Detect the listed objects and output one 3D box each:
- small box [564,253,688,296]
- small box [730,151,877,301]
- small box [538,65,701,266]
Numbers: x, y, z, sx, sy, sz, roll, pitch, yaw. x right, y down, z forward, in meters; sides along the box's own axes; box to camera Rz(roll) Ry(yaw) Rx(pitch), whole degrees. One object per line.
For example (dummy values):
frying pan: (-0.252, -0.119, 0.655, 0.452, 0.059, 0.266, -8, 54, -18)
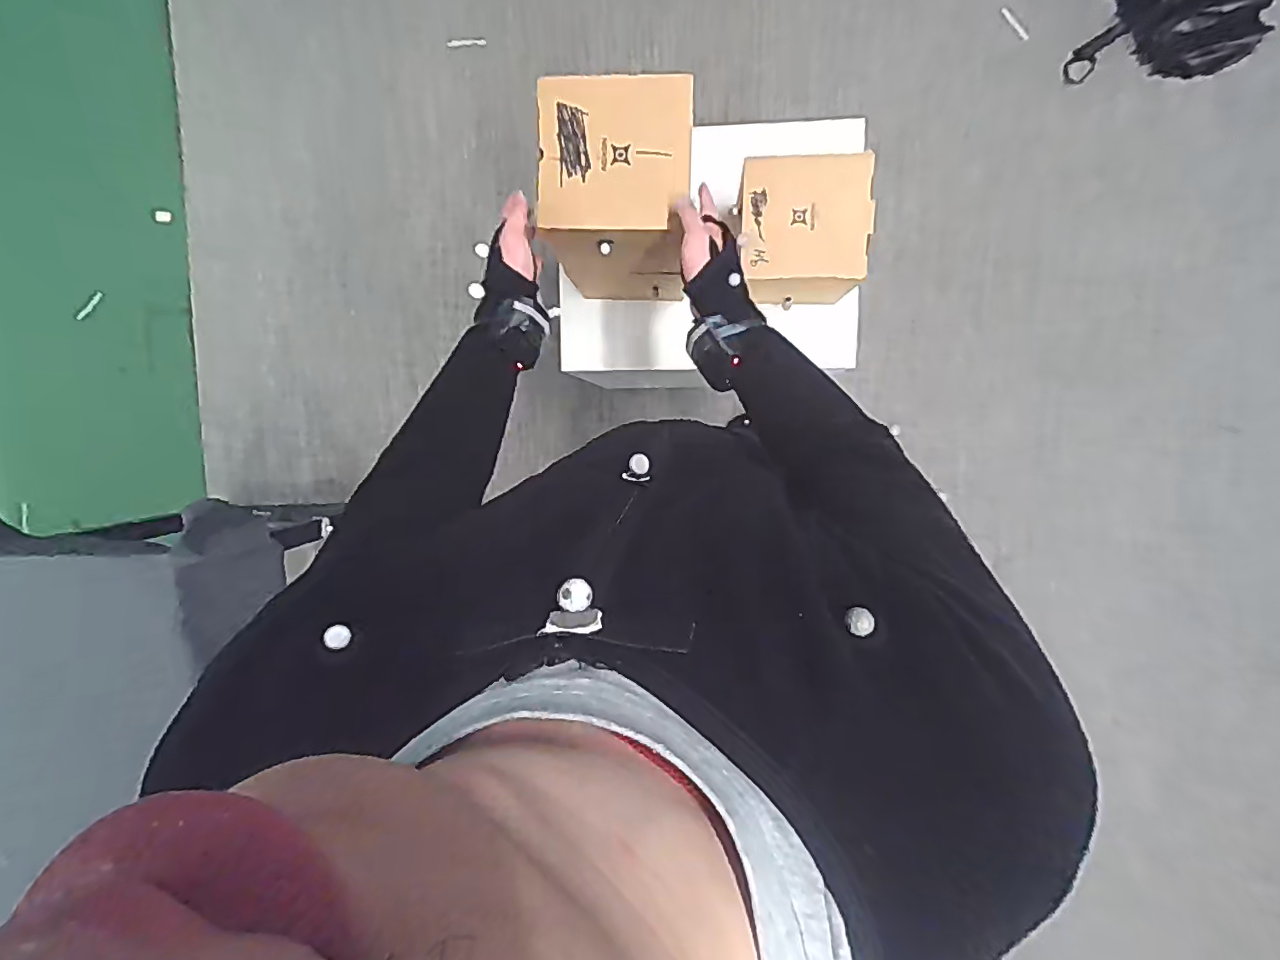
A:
small box: (-0.014, -0.387, 0.834, 0.179, 0.176, 0.168, 2, 96, 4)
small box: (0.235, -0.373, 0.817, 0.179, 0.176, 0.168, 2, 97, 5)
small box: (-0.020, -0.372, 0.670, 0.179, 0.176, 0.168, 2, 97, 2)
